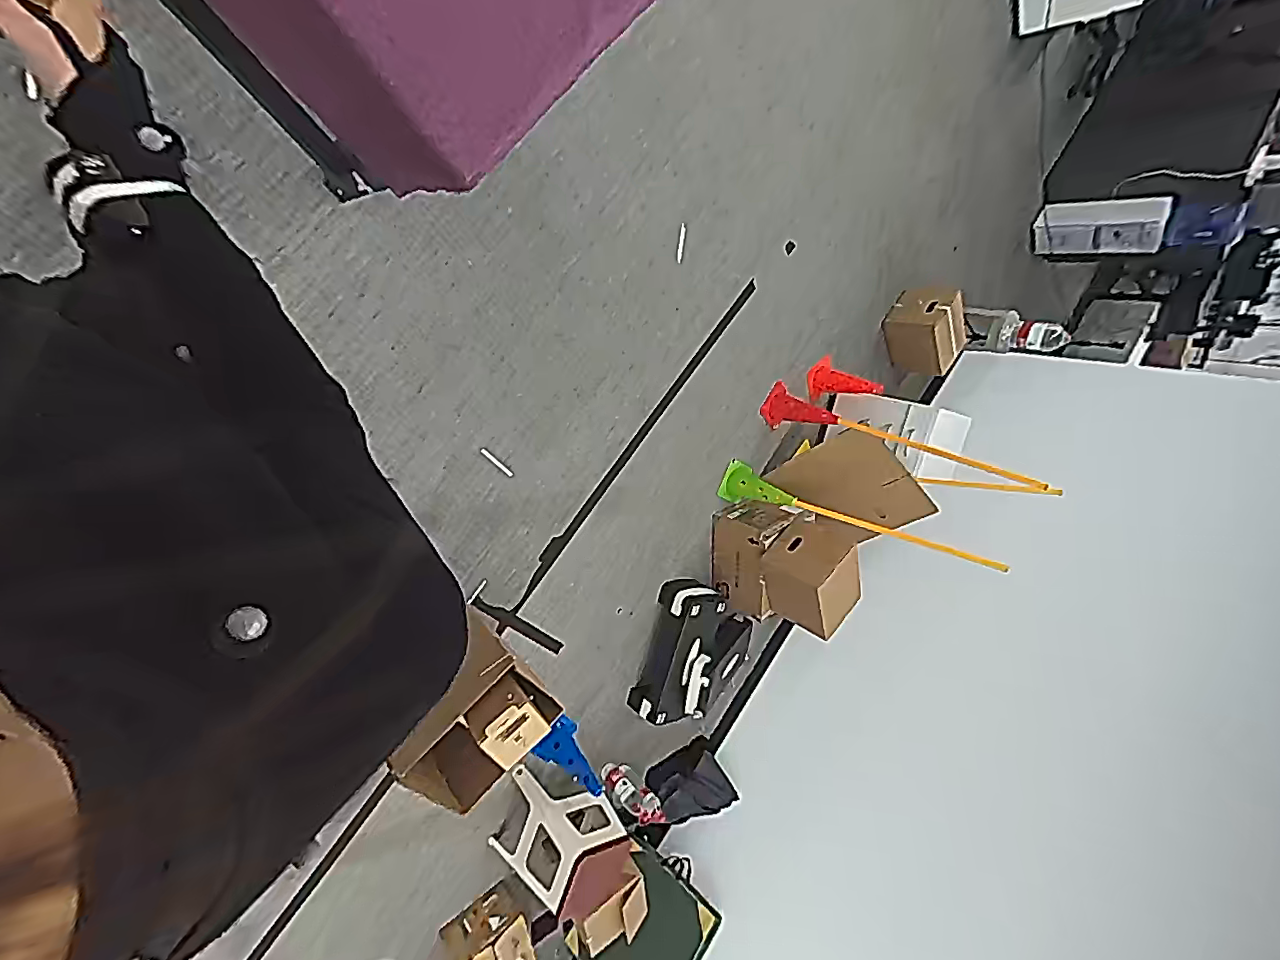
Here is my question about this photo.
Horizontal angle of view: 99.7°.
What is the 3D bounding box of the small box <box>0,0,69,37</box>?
[{"bbox_3d":[-0.520,-0.448,0.366,0.168,0.176,0.179,-6,112,-55],"label":"small box"}]
